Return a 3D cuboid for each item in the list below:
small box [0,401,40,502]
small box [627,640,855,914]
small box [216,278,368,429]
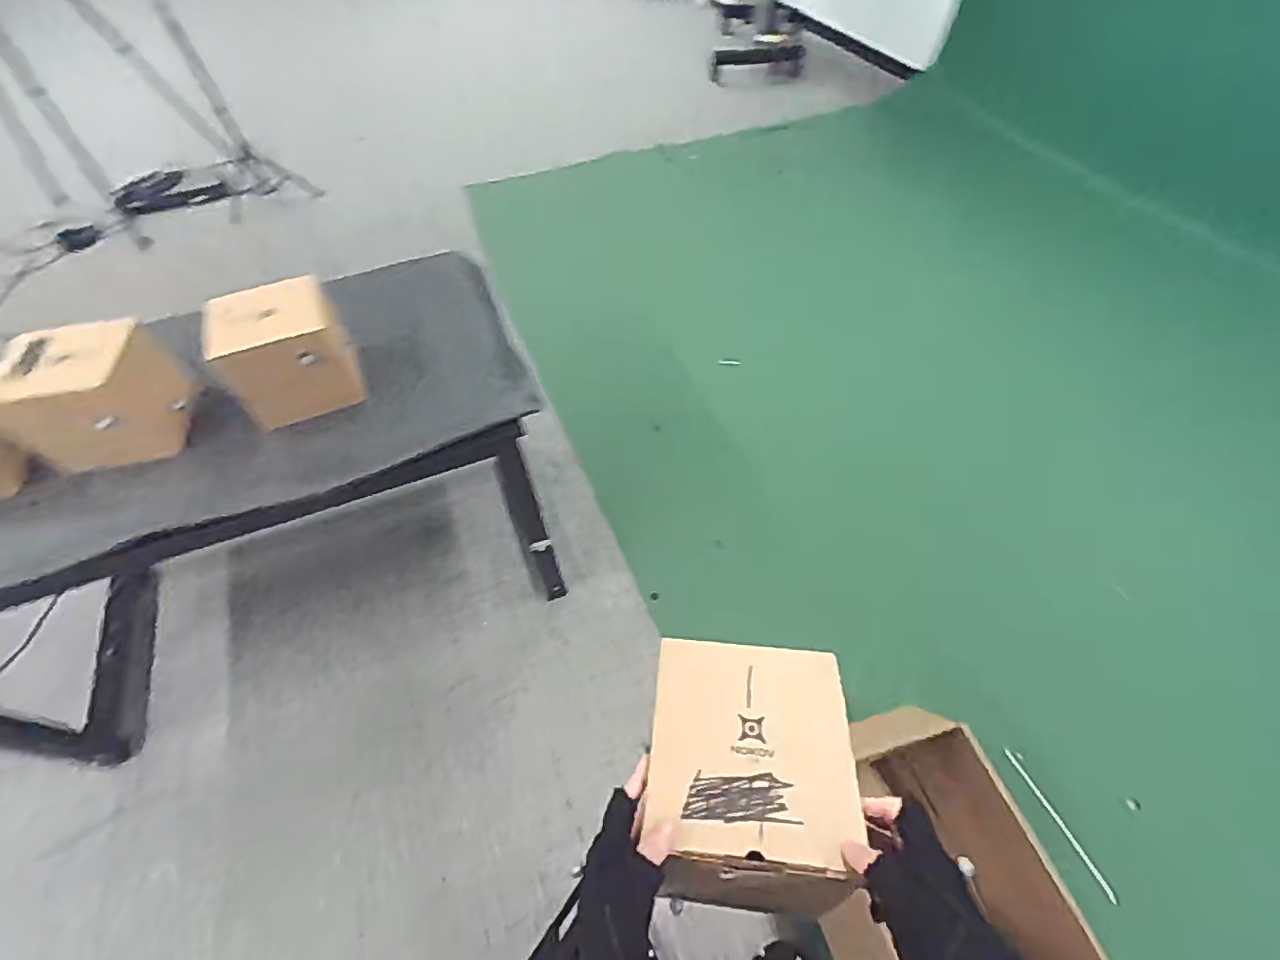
[{"bbox_3d":[-1.117,-0.051,0.847,0.179,0.176,0.168,-24,57,-15],"label":"small box"},{"bbox_3d":[0.082,0.273,0.498,0.168,0.176,0.179,3,42,4],"label":"small box"},{"bbox_3d":[-0.603,-0.221,0.956,0.179,0.176,0.168,-21,56,-13],"label":"small box"}]
